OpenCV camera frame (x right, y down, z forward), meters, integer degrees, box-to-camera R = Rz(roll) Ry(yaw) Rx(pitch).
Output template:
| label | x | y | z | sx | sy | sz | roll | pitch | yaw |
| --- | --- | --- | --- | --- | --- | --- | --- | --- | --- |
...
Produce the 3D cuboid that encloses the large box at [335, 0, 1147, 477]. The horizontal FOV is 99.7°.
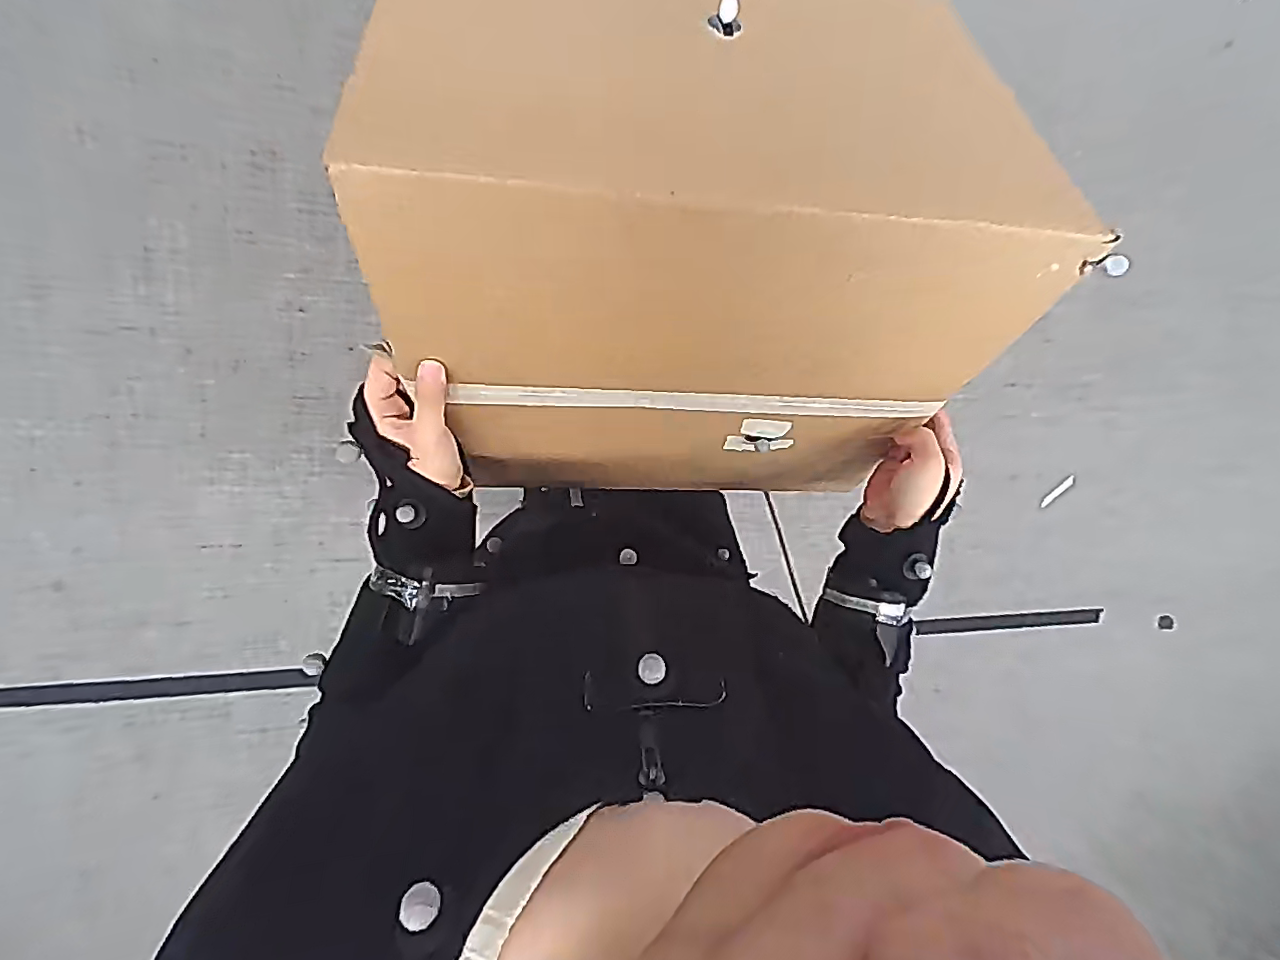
| label | x | y | z | sx | sy | sz | roll | pitch | yaw |
| --- | --- | --- | --- | --- | --- | --- | --- | --- | --- |
| large box | 0.036 | -0.209 | 0.450 | 0.408 | 0.320 | 0.320 | 0 | 63 | -9 |
